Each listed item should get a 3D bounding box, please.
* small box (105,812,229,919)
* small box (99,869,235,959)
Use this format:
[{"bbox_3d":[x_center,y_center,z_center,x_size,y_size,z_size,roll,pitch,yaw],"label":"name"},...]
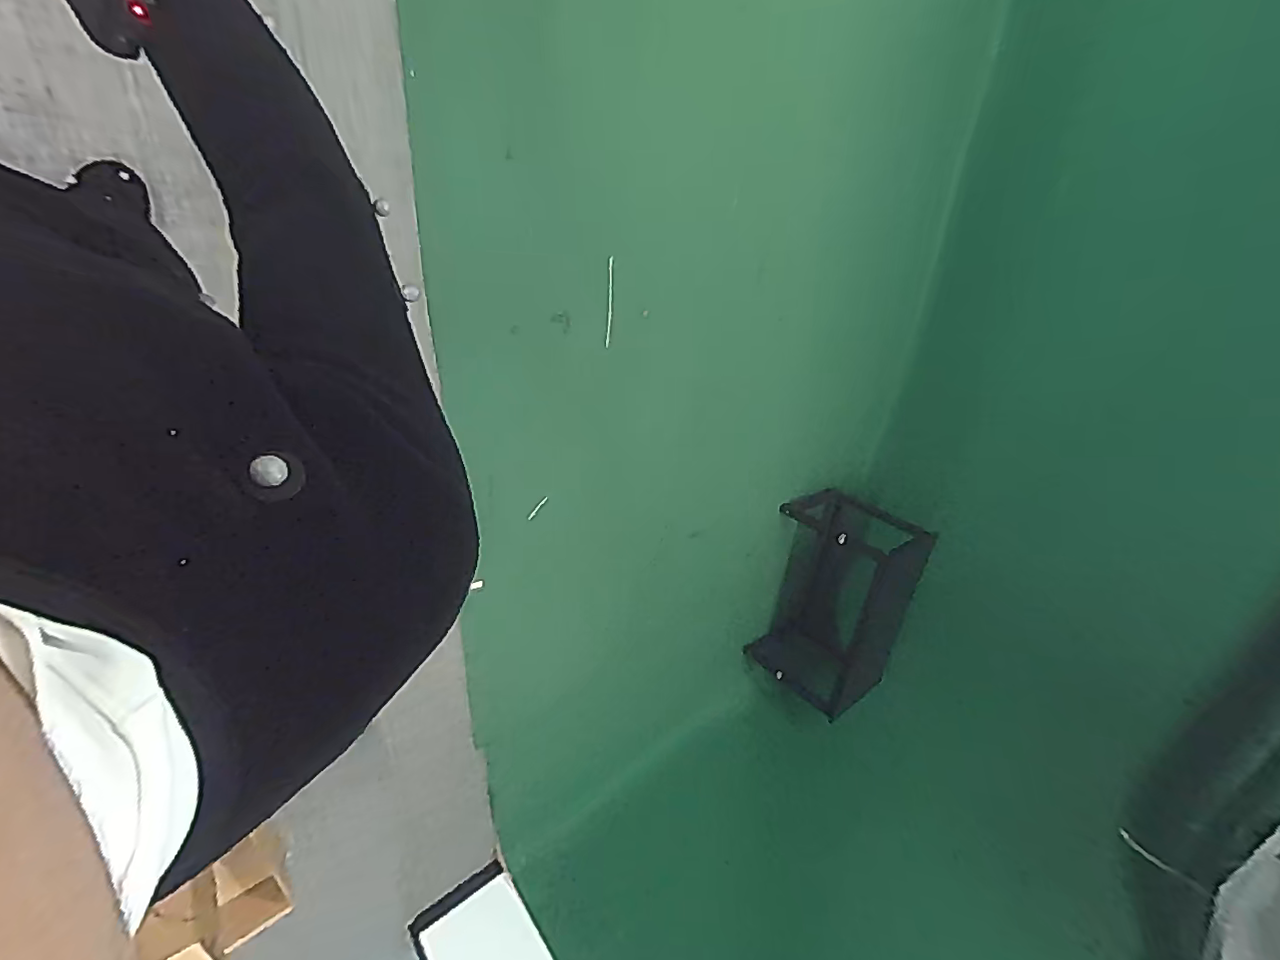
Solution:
[{"bbox_3d":[-1.059,0.891,1.211,0.168,0.176,0.179,-21,128,-35],"label":"small box"},{"bbox_3d":[-0.953,0.948,1.098,0.168,0.176,0.179,-22,128,-35],"label":"small box"}]
